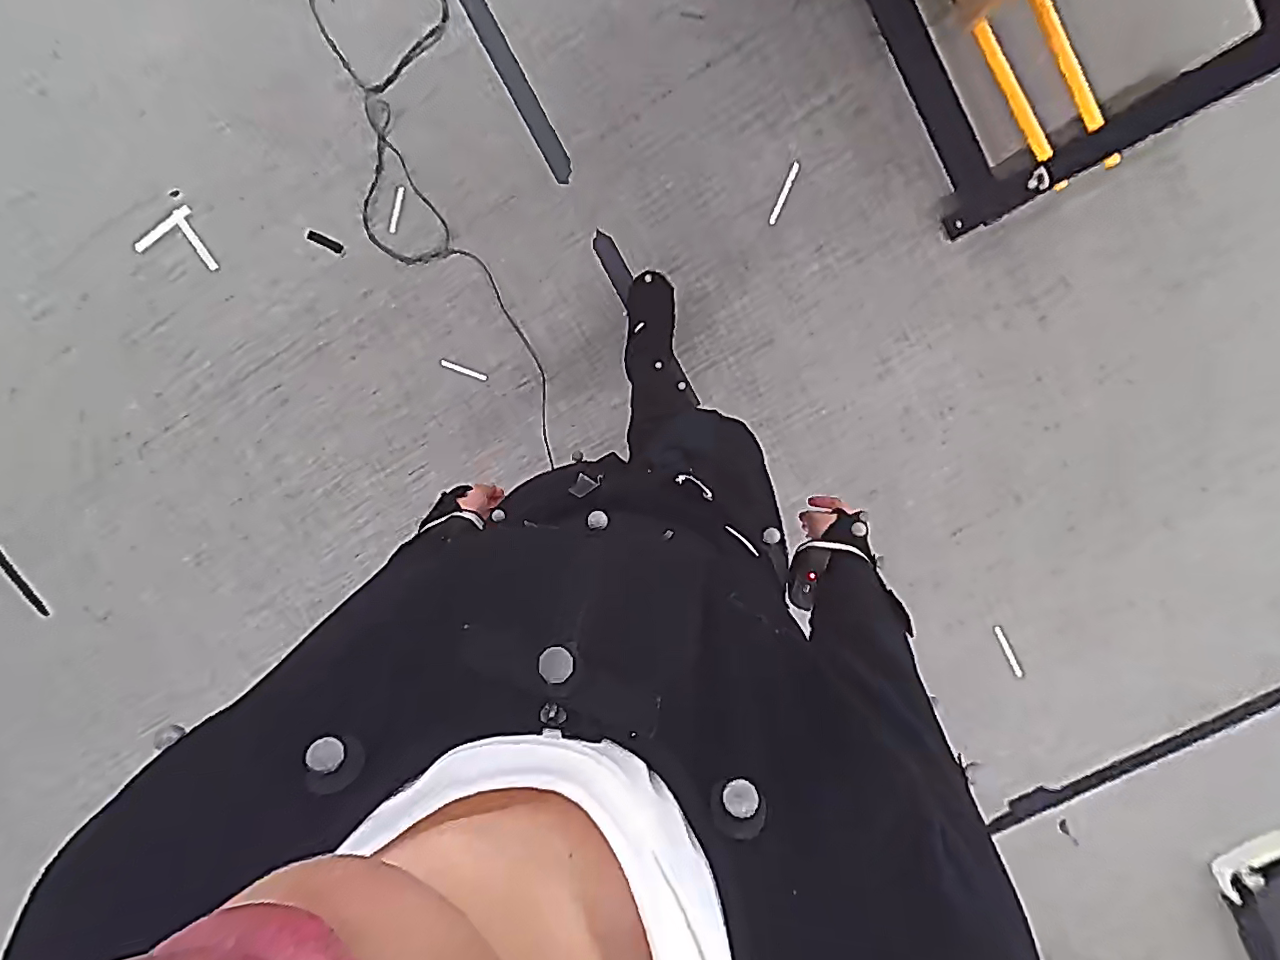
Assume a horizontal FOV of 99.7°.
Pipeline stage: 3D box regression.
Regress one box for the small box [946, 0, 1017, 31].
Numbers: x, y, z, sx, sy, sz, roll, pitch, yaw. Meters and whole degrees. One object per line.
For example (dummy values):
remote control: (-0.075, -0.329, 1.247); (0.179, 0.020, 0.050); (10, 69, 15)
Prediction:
small box: (0.664, -0.976, 0.966); (0.179, 0.176, 0.168); (-31, 96, 10)
